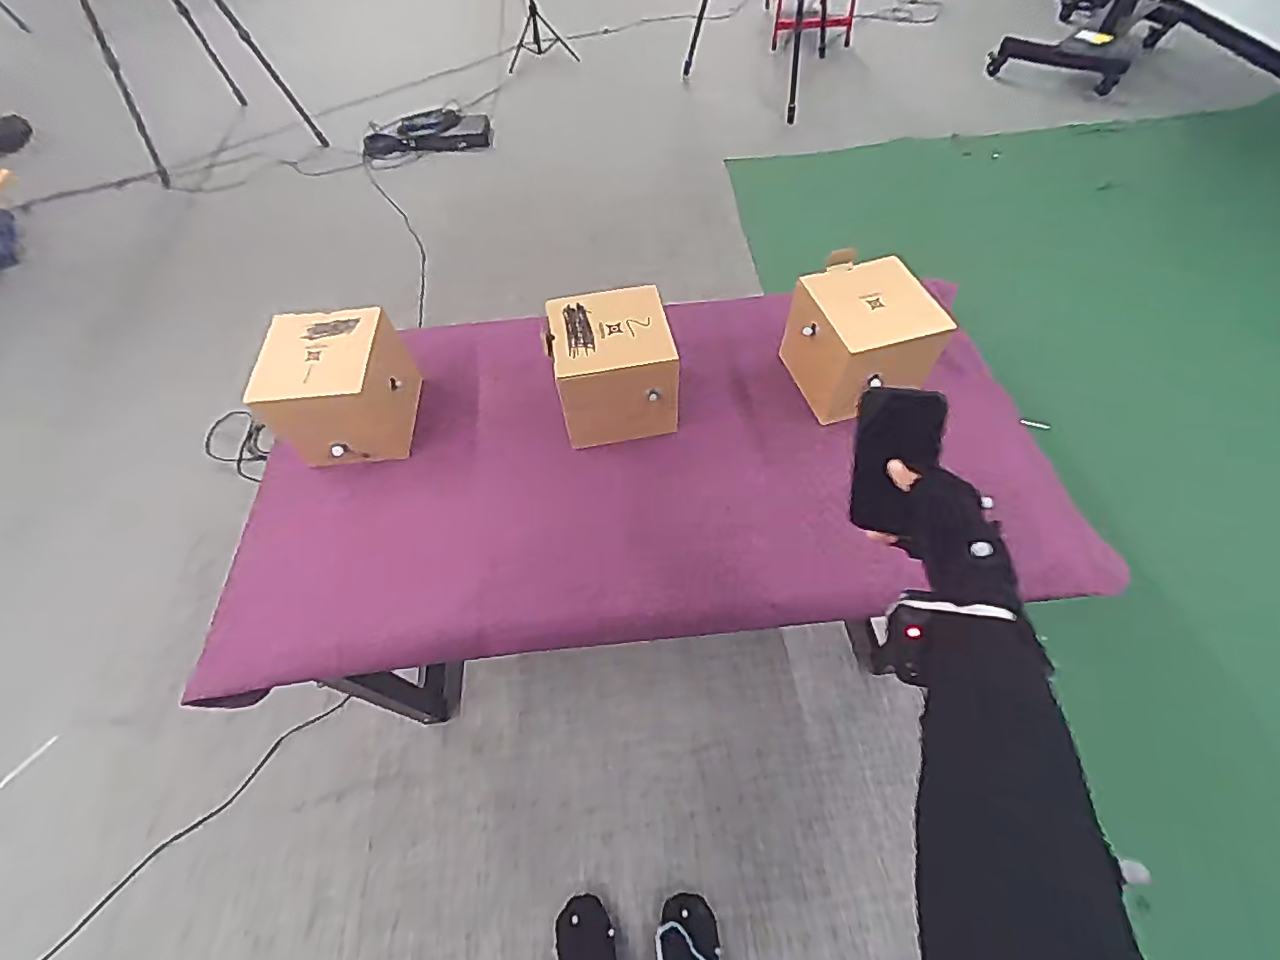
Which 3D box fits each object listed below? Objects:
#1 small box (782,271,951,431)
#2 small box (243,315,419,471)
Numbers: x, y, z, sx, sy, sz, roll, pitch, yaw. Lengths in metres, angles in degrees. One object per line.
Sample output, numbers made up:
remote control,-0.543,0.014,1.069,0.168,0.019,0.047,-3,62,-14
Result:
small box,0.346,-0.197,0.866,0.168,0.176,0.179,-14,57,-6
small box,-0.465,-0.133,0.850,0.168,0.176,0.179,-4,59,-1
